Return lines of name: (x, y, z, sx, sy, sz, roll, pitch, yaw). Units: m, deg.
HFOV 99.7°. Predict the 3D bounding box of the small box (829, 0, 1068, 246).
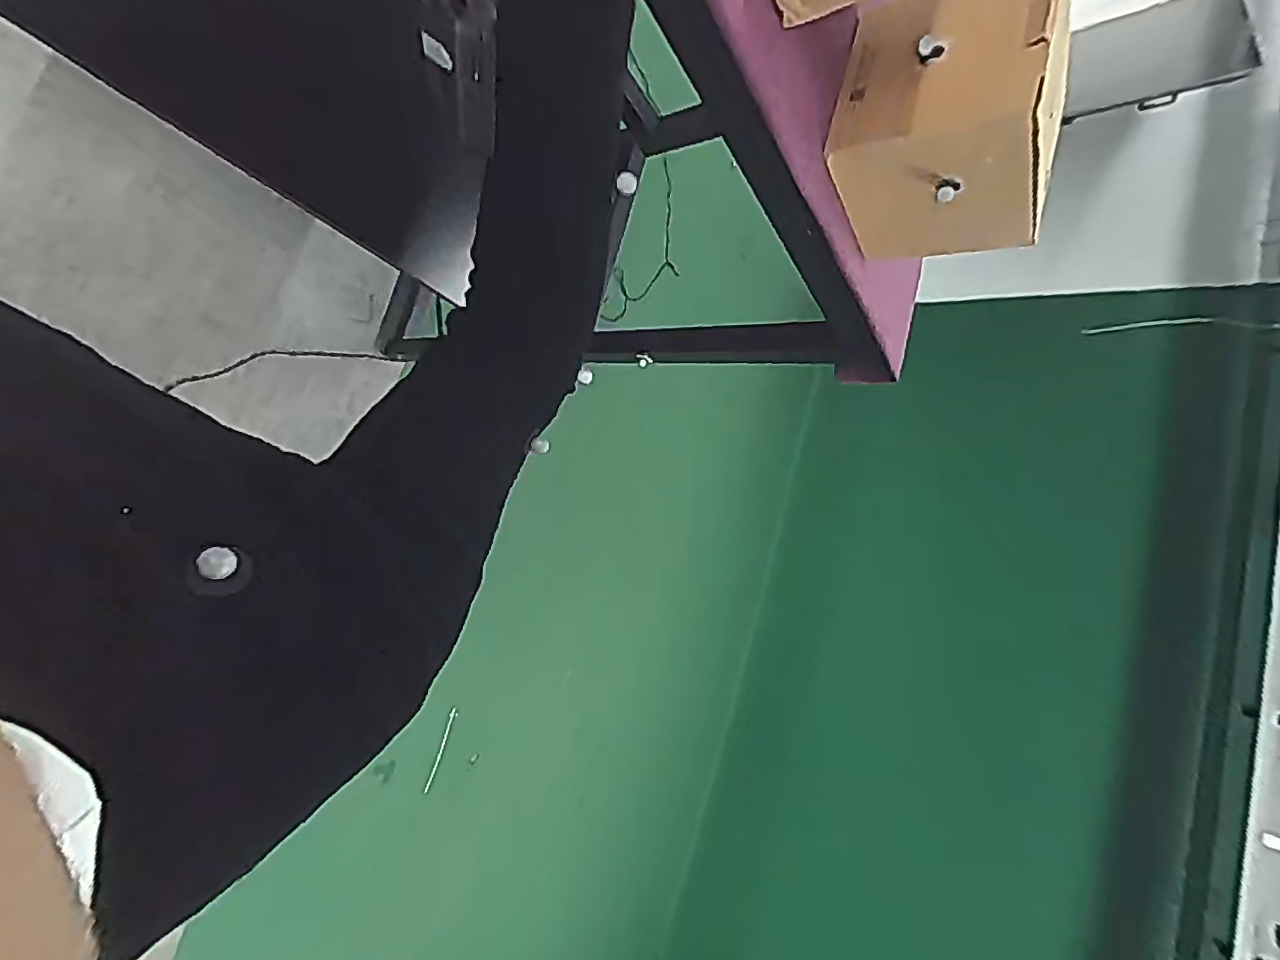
small box: (0.306, -0.357, 0.537, 0.179, 0.176, 0.168, 25, 79, -50)
